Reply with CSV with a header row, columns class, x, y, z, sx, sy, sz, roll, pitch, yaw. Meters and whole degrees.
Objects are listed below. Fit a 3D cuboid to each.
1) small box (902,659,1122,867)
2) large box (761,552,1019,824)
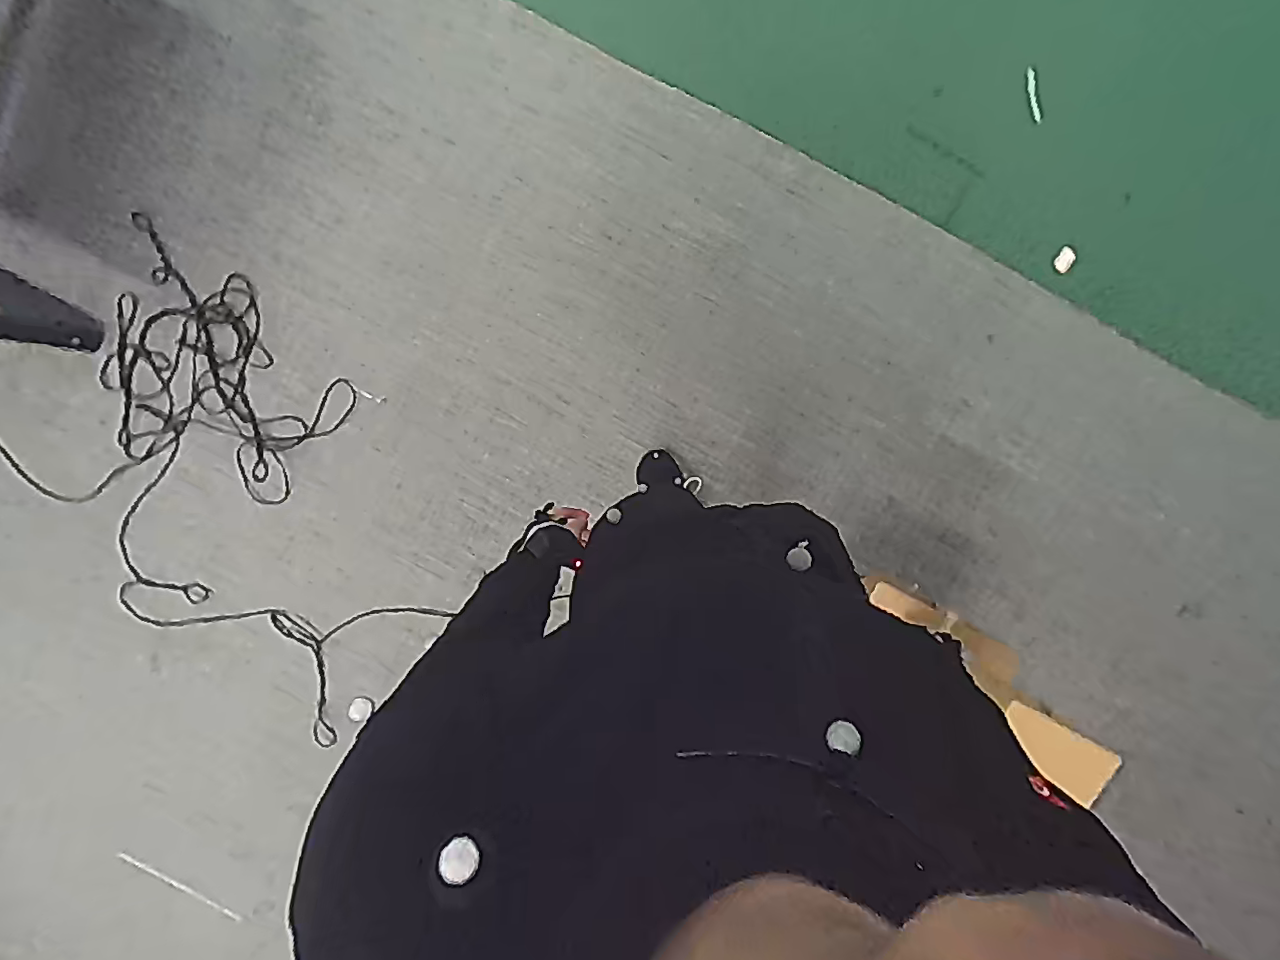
class,x,y,z,sx,sy,sz,roll,pitch,yaw
small box,0.522,0.396,0.792,0.168,0.176,0.179,29,96,0
large box,0.516,0.429,1.205,0.320,0.320,0.408,28,97,2
